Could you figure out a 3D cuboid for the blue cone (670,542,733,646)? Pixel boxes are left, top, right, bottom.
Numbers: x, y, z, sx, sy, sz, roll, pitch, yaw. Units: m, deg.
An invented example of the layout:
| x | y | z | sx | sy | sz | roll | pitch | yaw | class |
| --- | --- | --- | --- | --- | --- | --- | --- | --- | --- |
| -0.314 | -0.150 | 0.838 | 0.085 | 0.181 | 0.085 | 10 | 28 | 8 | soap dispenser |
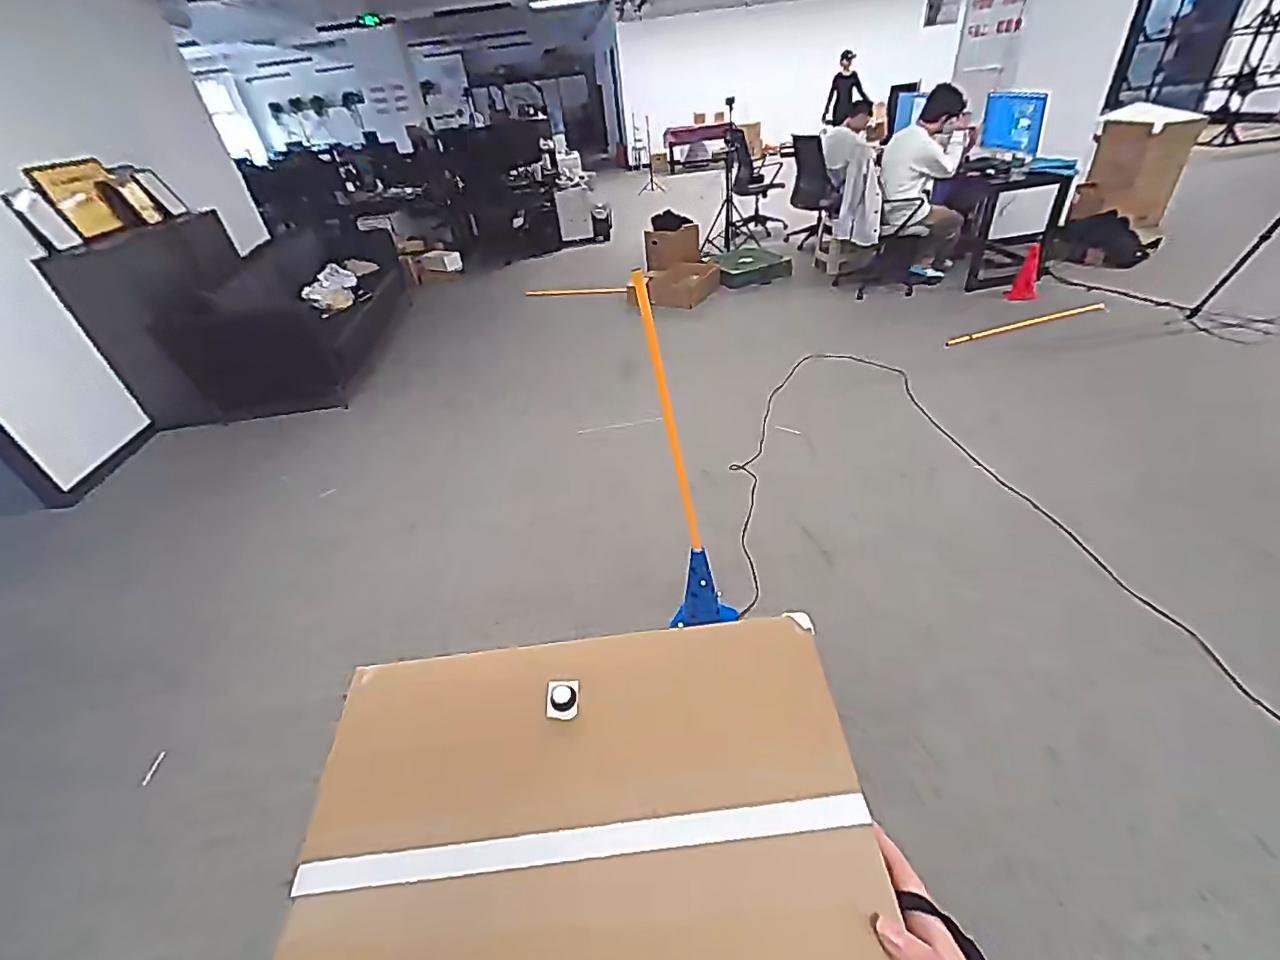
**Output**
| x | y | z | sx | sy | sz | roll | pitch | yaw | class |
| --- | --- | --- | --- | --- | --- | --- | --- | --- | --- |
| 0.194 | 0.352 | 1.773 | 0.192 | 0.380 | 0.193 | 11 | 41 | 25 | blue cone |
